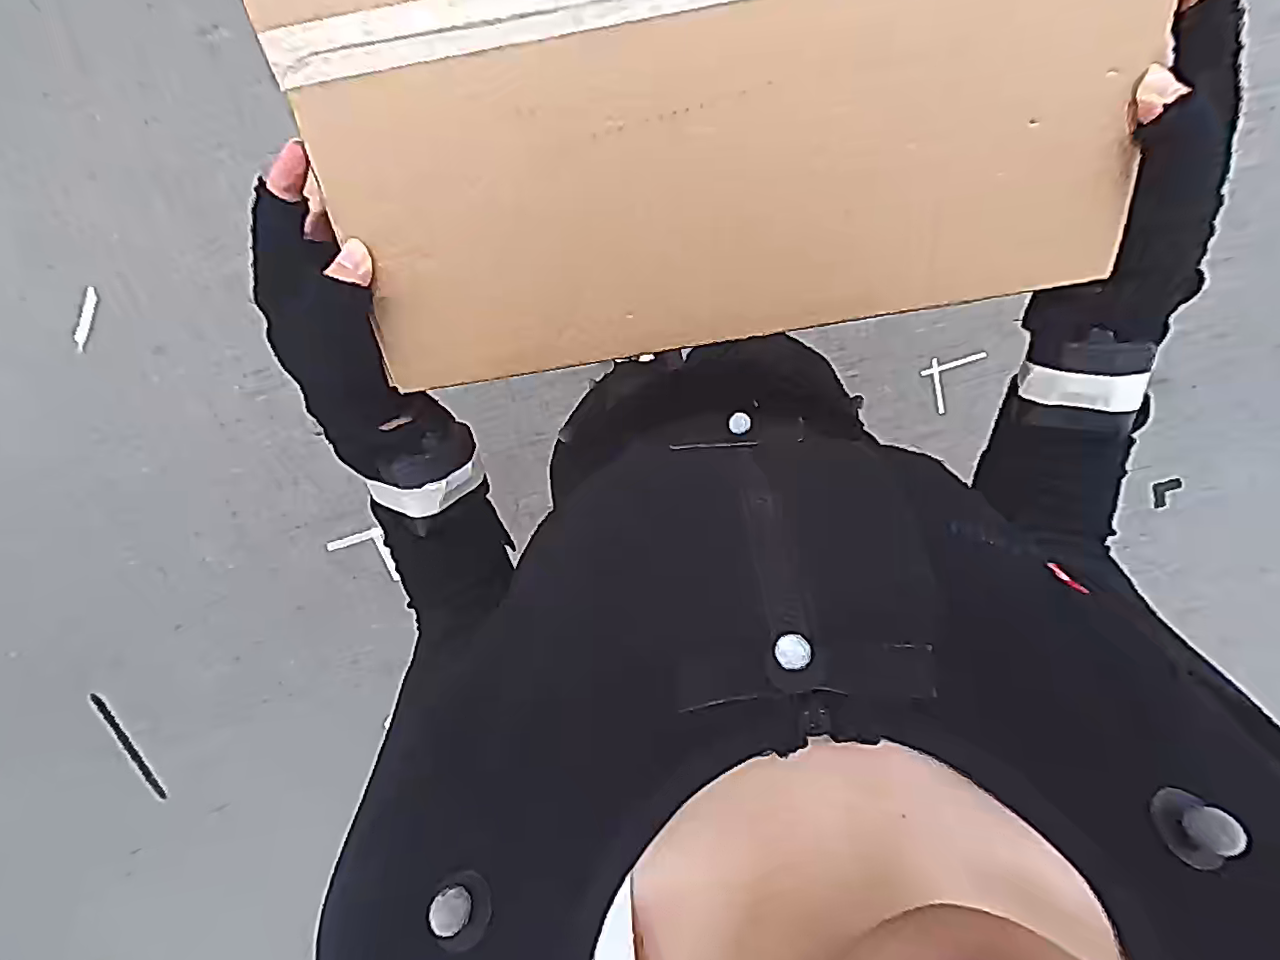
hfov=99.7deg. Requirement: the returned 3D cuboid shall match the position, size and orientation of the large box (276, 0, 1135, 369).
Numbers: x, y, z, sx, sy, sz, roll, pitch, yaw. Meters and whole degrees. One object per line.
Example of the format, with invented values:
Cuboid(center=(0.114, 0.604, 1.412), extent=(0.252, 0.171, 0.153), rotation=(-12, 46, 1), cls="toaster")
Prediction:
Cuboid(center=(0.025, -0.297, 0.381), extent=(0.408, 0.320, 0.320), rotation=(-9, 117, 2), cls="large box")
